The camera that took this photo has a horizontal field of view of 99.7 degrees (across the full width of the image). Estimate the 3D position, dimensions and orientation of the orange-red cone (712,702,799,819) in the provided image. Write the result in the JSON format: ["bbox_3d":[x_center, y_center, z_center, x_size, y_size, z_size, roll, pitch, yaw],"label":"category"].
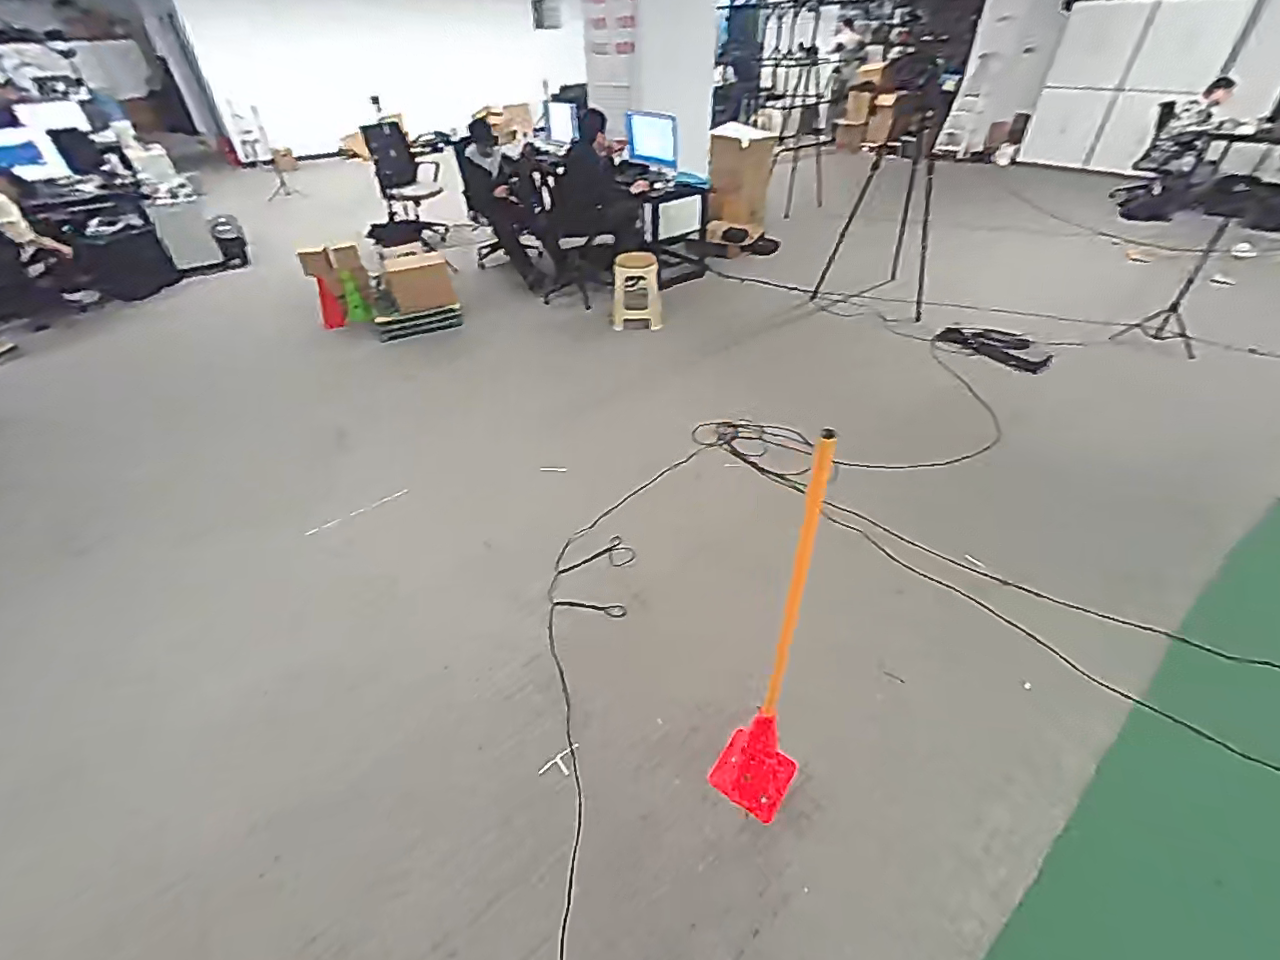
[{"bbox_3d":[0.330,0.700,1.442,0.198,0.360,0.199,25,46,29],"label":"orange-red cone"}]
